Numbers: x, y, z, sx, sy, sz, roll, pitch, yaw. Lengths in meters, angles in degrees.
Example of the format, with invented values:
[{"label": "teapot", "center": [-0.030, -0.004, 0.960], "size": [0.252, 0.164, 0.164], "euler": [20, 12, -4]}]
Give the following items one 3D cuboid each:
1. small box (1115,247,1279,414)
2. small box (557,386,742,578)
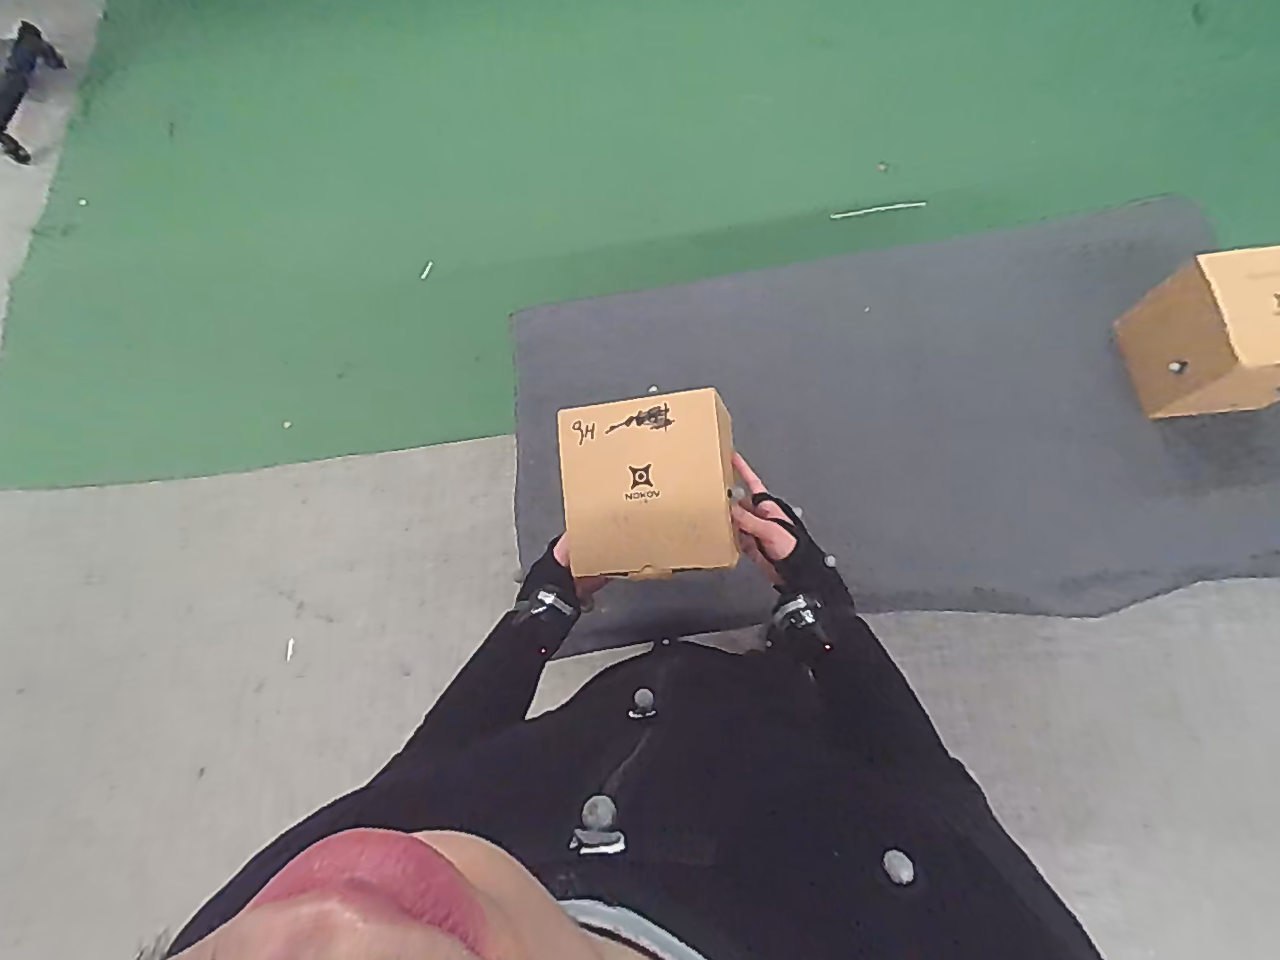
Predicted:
[{"label": "small box", "center": [0.848, -0.204, 0.776], "size": [0.168, 0.176, 0.179], "euler": [-5, 71, 5]}, {"label": "small box", "center": [0.020, 0.007, 0.602], "size": [0.168, 0.176, 0.179], "euler": [-6, 85, 13]}]
